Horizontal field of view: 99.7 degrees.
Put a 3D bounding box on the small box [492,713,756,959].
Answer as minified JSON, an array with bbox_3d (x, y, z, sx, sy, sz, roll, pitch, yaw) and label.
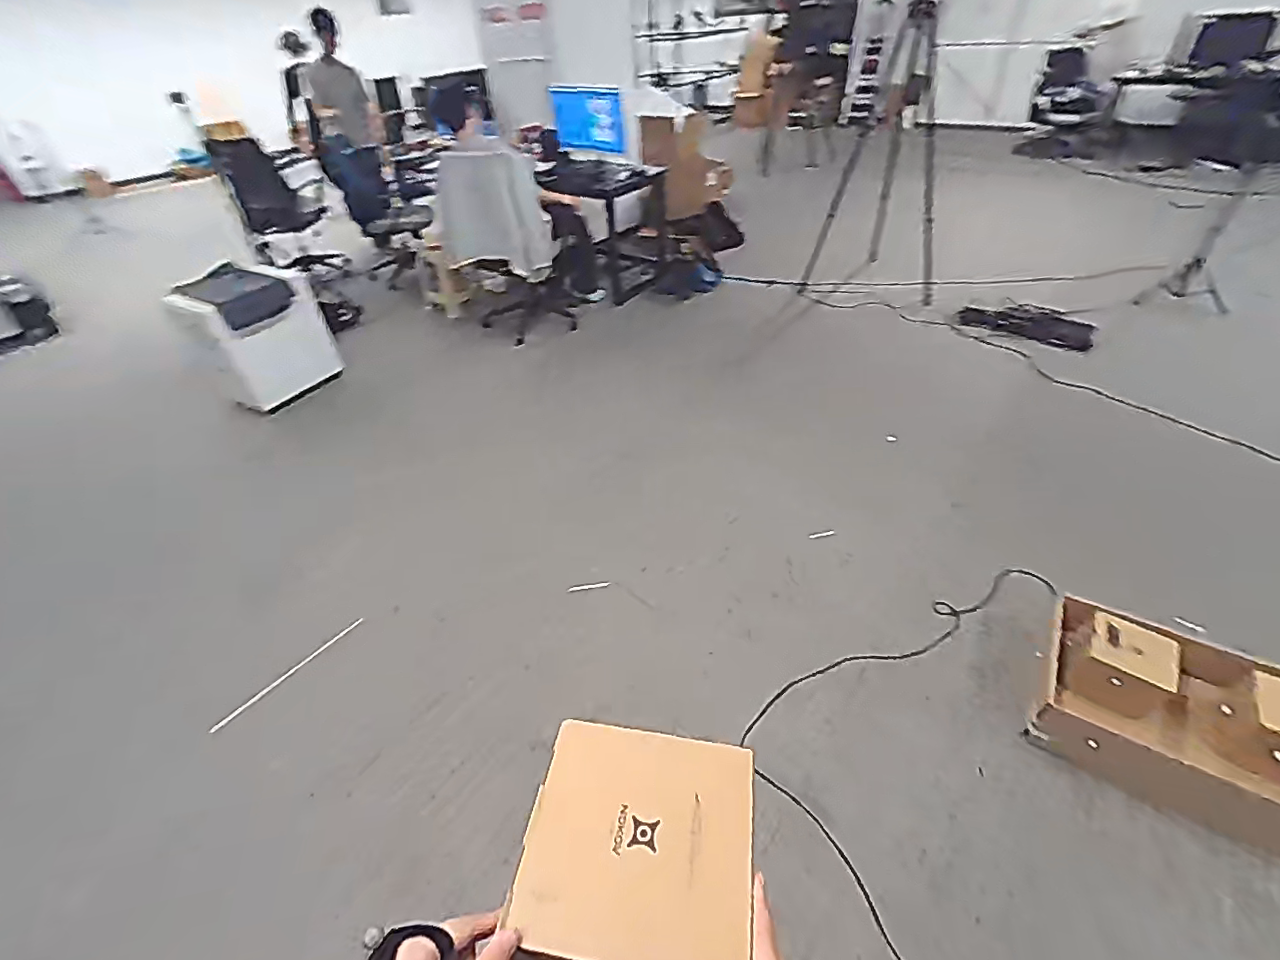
[{"bbox_3d":[-0.001,0.333,0.460,0.179,0.176,0.168,7,35,9],"label":"small box"}]

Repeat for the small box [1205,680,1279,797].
[{"bbox_3d":[1.504,0.623,1.287,0.179,0.176,0.168,24,48,30],"label":"small box"}]
